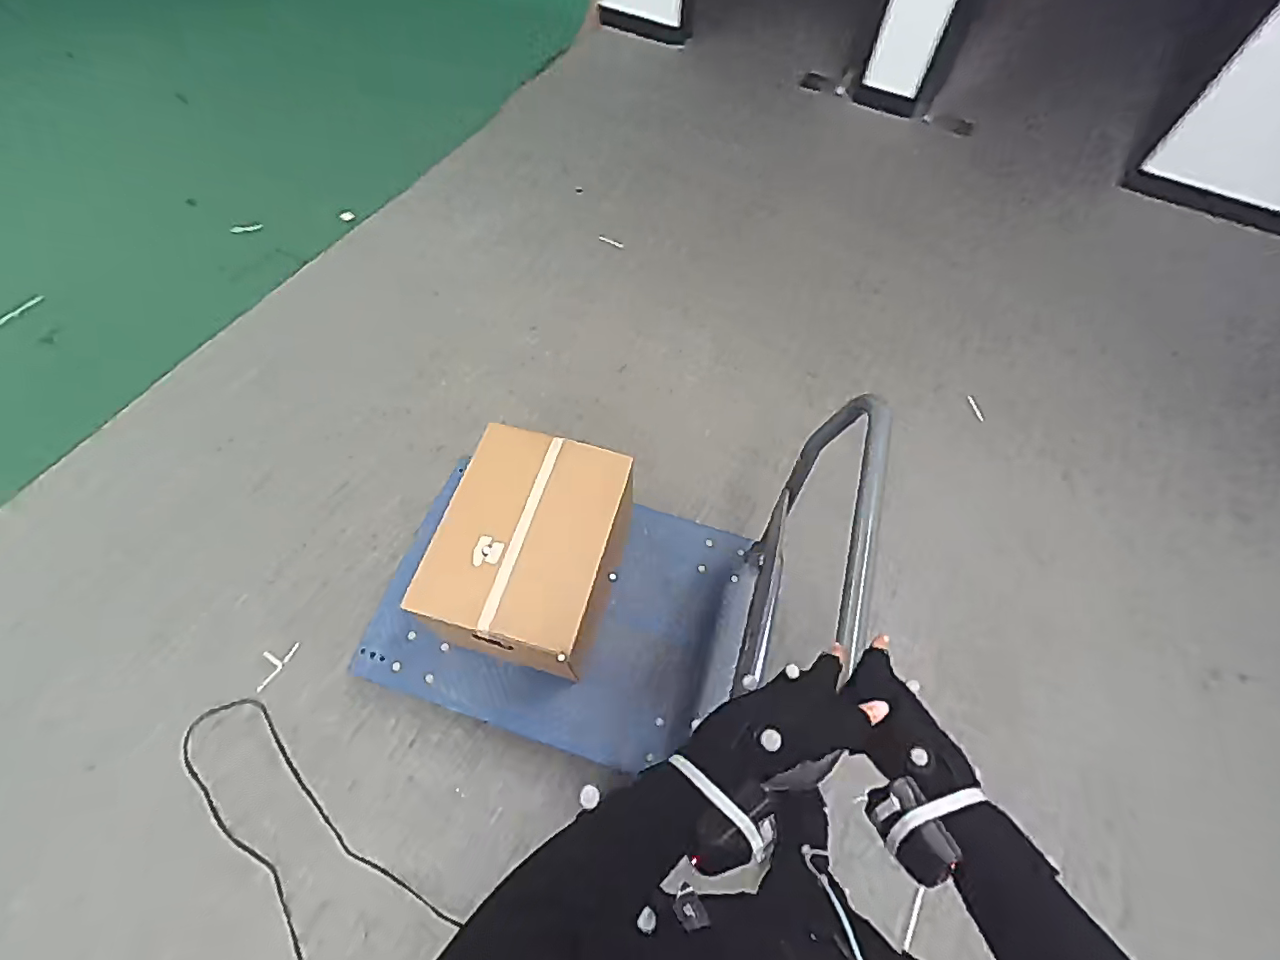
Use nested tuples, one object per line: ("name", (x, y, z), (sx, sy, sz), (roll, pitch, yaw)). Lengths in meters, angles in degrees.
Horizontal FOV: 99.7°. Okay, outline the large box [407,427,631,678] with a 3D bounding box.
("large box", (-0.217, 0.161, 1.151), (0.320, 0.320, 0.408), (14, 64, 7))
